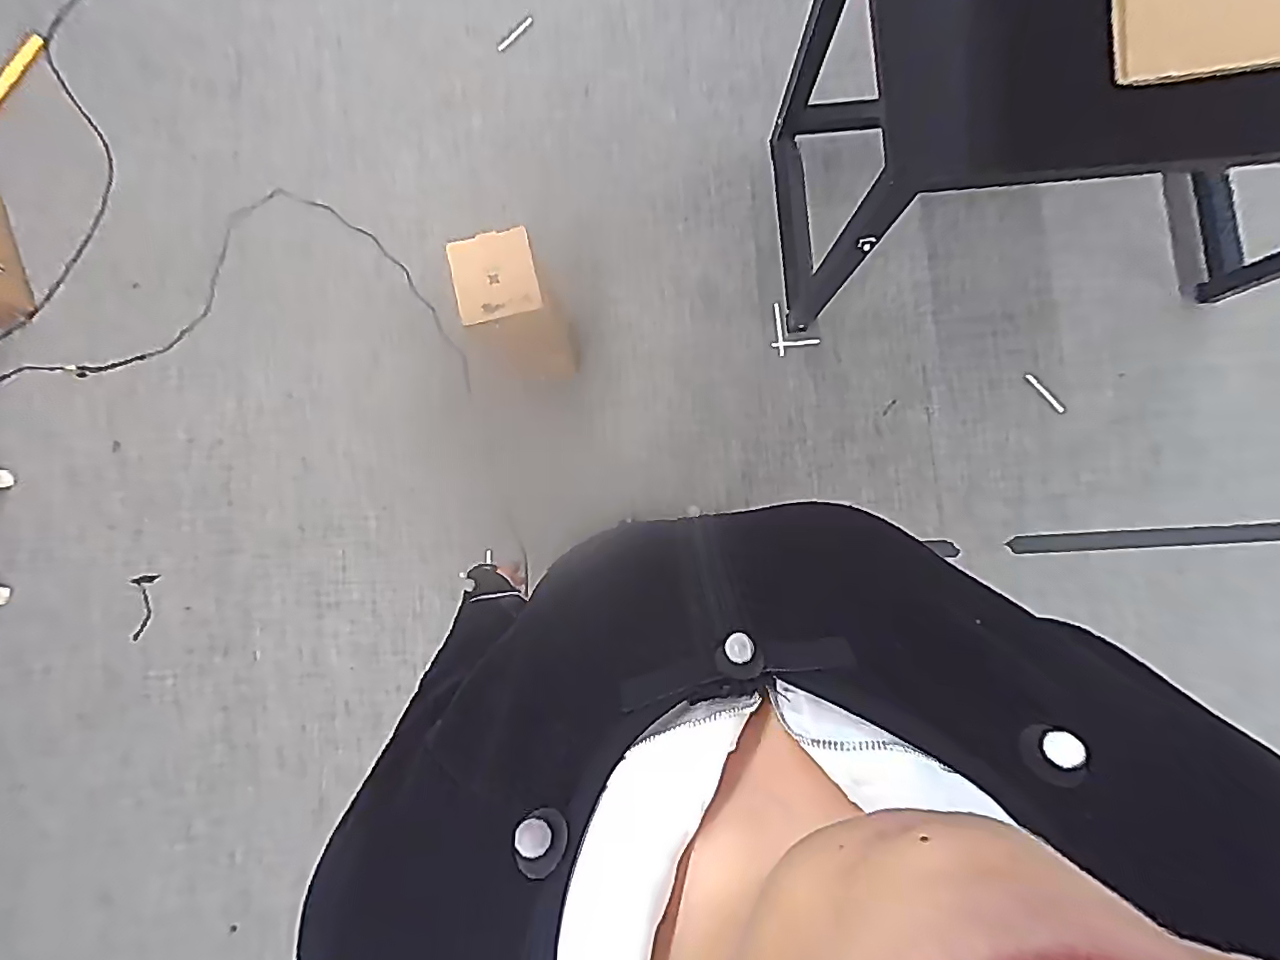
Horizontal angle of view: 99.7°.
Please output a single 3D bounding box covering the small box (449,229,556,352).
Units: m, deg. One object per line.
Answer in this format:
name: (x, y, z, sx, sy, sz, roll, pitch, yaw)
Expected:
small box: (-0.285, -0.395, 1.151, 0.168, 0.176, 0.179, -13, 85, 1)
